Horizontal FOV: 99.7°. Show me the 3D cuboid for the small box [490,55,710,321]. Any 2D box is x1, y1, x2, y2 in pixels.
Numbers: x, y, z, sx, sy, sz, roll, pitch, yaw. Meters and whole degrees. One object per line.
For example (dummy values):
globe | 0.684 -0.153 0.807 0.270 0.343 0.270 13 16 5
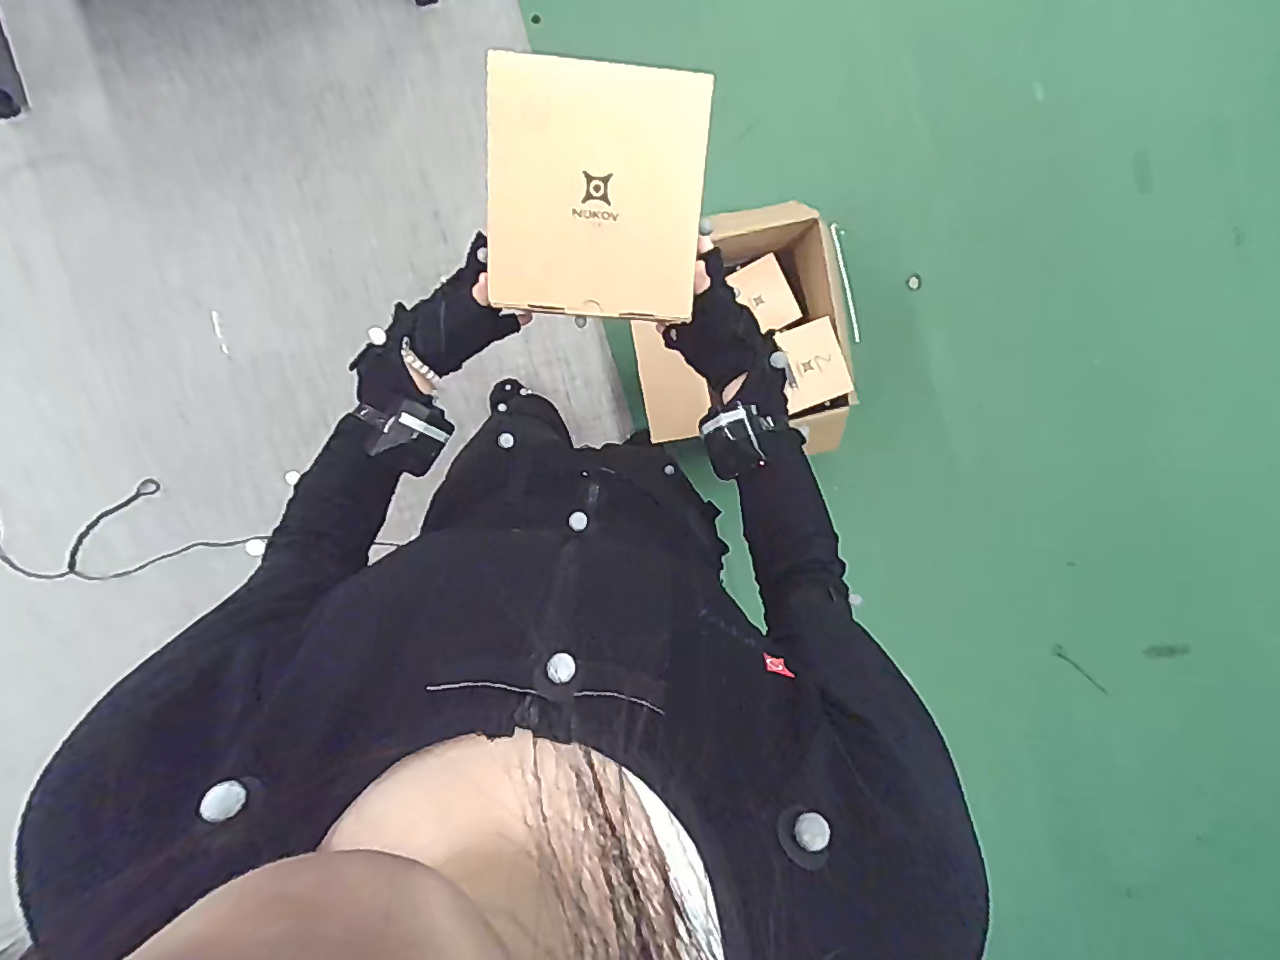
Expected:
small box | -0.041 -0.246 0.501 0.168 0.176 0.179 3 108 -5
